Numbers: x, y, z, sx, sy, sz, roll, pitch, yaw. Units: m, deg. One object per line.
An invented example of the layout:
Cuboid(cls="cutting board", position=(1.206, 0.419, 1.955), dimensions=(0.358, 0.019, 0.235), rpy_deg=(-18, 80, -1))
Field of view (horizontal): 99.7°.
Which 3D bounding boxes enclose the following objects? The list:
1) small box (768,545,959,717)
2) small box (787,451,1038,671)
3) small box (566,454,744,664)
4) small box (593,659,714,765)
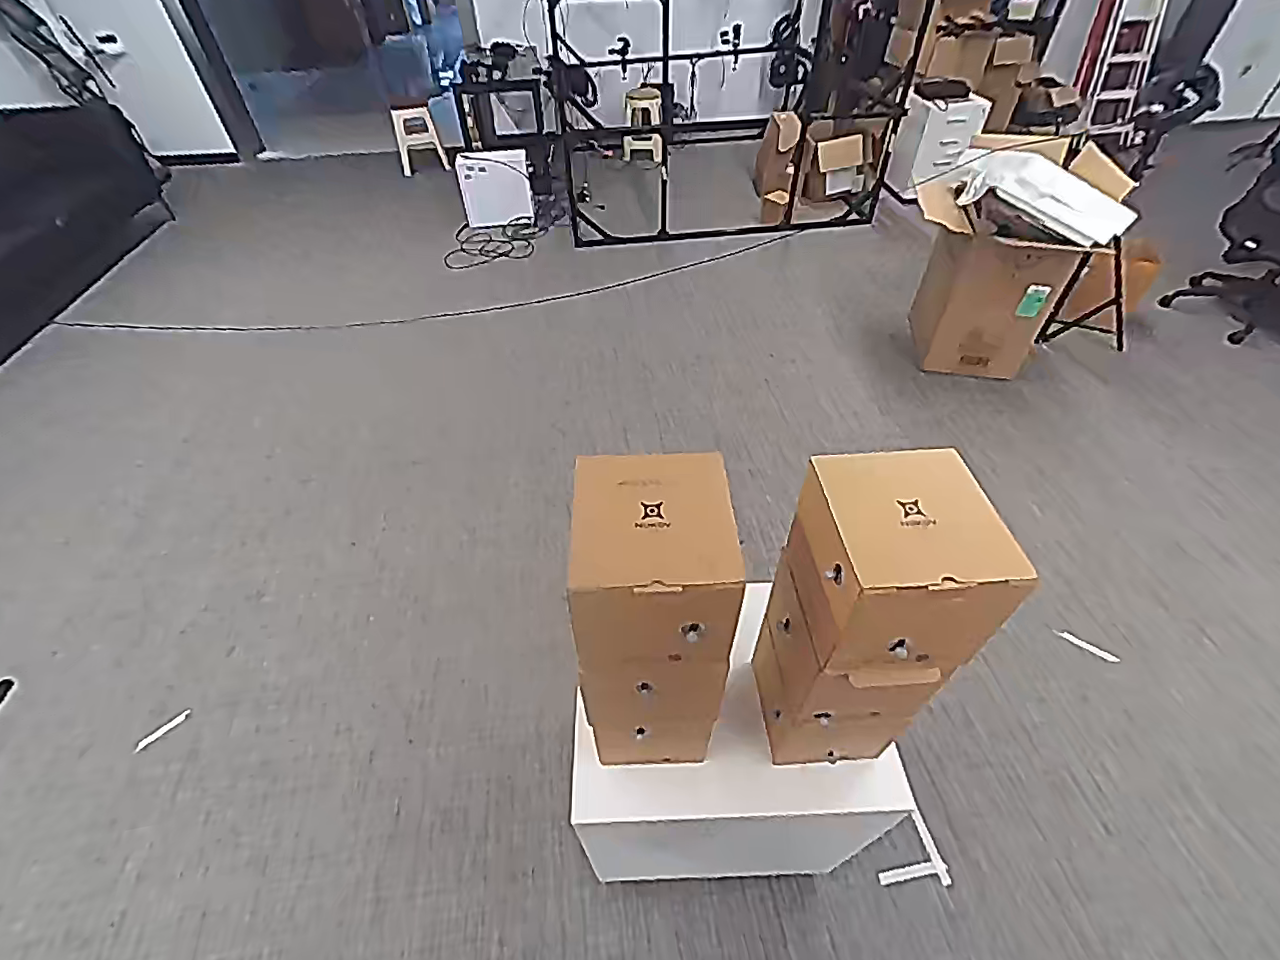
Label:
Cuboid(cls="small box", position=(0.276, 0.199, 0.716), dimensions=(0.168, 0.176, 0.179), rpy_deg=(-3, 46, -1))
Cuboid(cls="small box", position=(0.273, 0.089, 0.597), dimensions=(0.168, 0.176, 0.179), rpy_deg=(-3, 47, -1))
Cuboid(cls="small box", position=(0.014, 0.092, 0.600), dimensions=(0.168, 0.176, 0.179), rpy_deg=(-1, 46, -1))
Cuboid(cls="small box", position=(0.018, 0.319, 0.836), dimensions=(0.168, 0.176, 0.179), rpy_deg=(-2, 45, 1))
